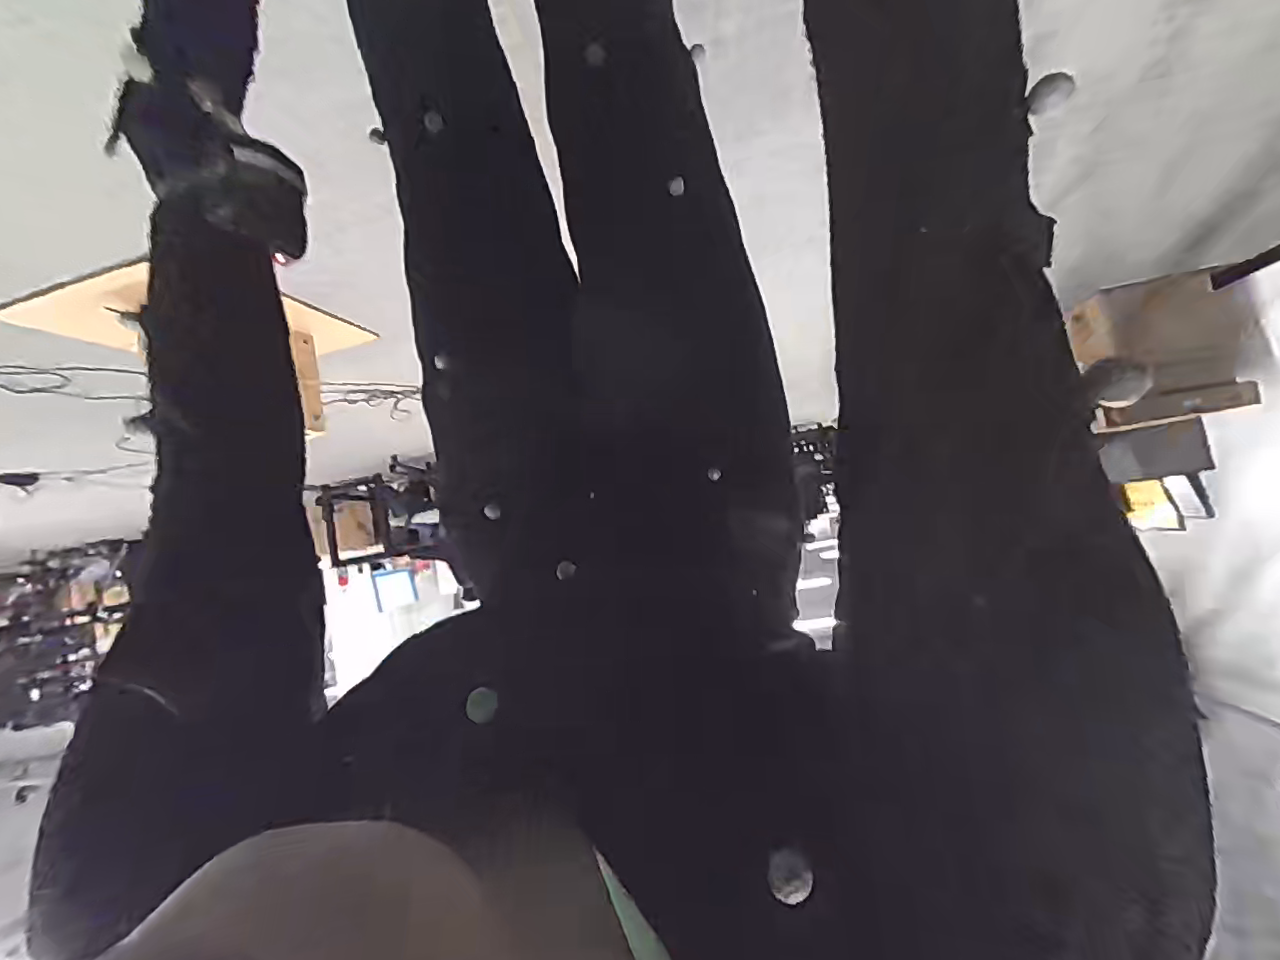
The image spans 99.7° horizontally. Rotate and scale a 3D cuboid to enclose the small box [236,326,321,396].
[{"bbox_3d":[-1.174,-0.381,1.739,0.179,0.176,0.168,-11,176,16],"label":"small box"}]
